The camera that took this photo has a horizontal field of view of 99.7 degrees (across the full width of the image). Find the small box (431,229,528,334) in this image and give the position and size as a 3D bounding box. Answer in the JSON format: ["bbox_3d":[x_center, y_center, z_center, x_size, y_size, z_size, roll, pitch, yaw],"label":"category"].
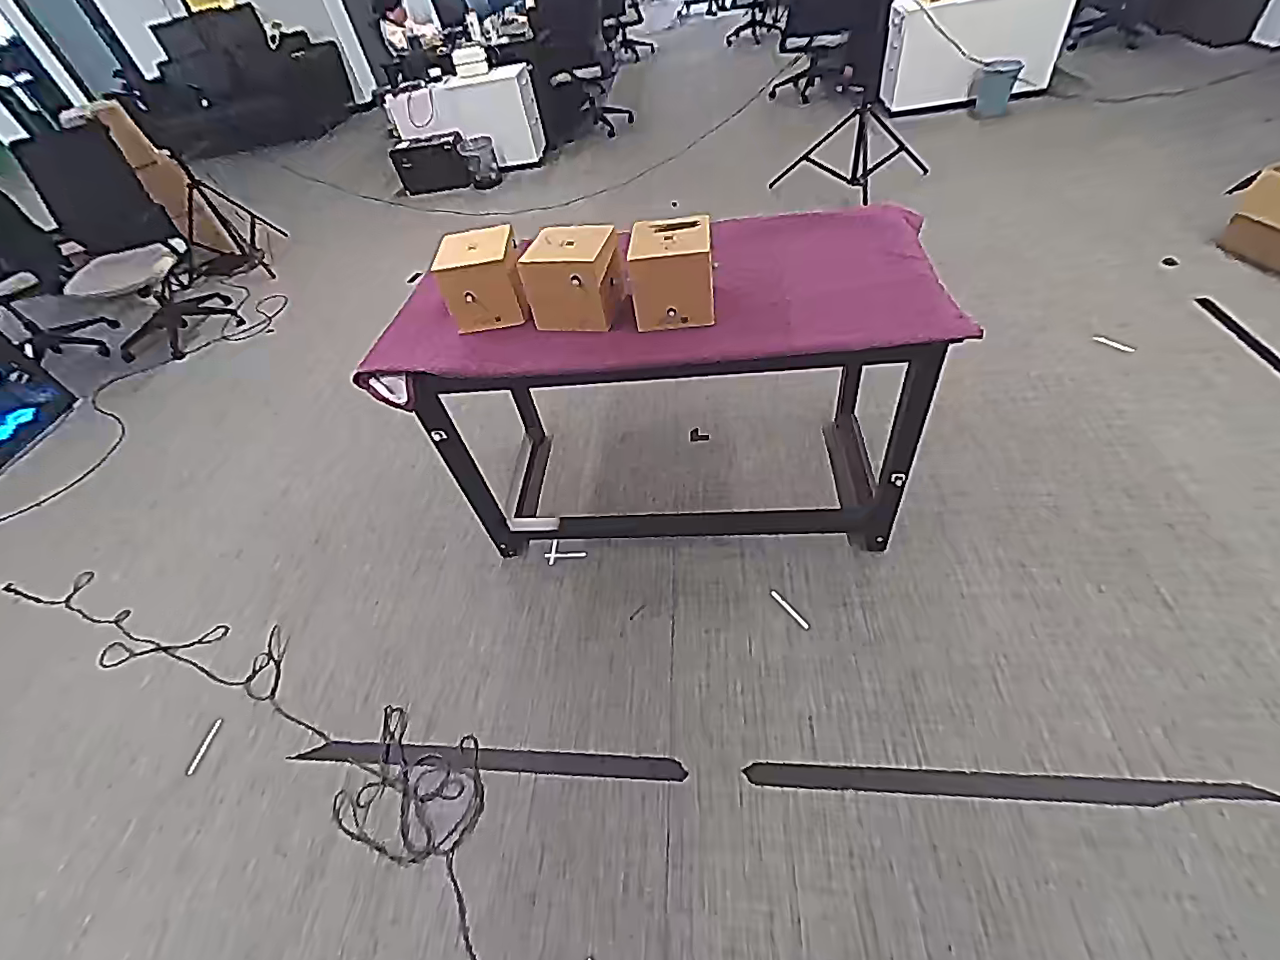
[{"bbox_3d":[-0.373,-0.466,1.292,0.168,0.176,0.179,-9,48,4],"label":"small box"}]
